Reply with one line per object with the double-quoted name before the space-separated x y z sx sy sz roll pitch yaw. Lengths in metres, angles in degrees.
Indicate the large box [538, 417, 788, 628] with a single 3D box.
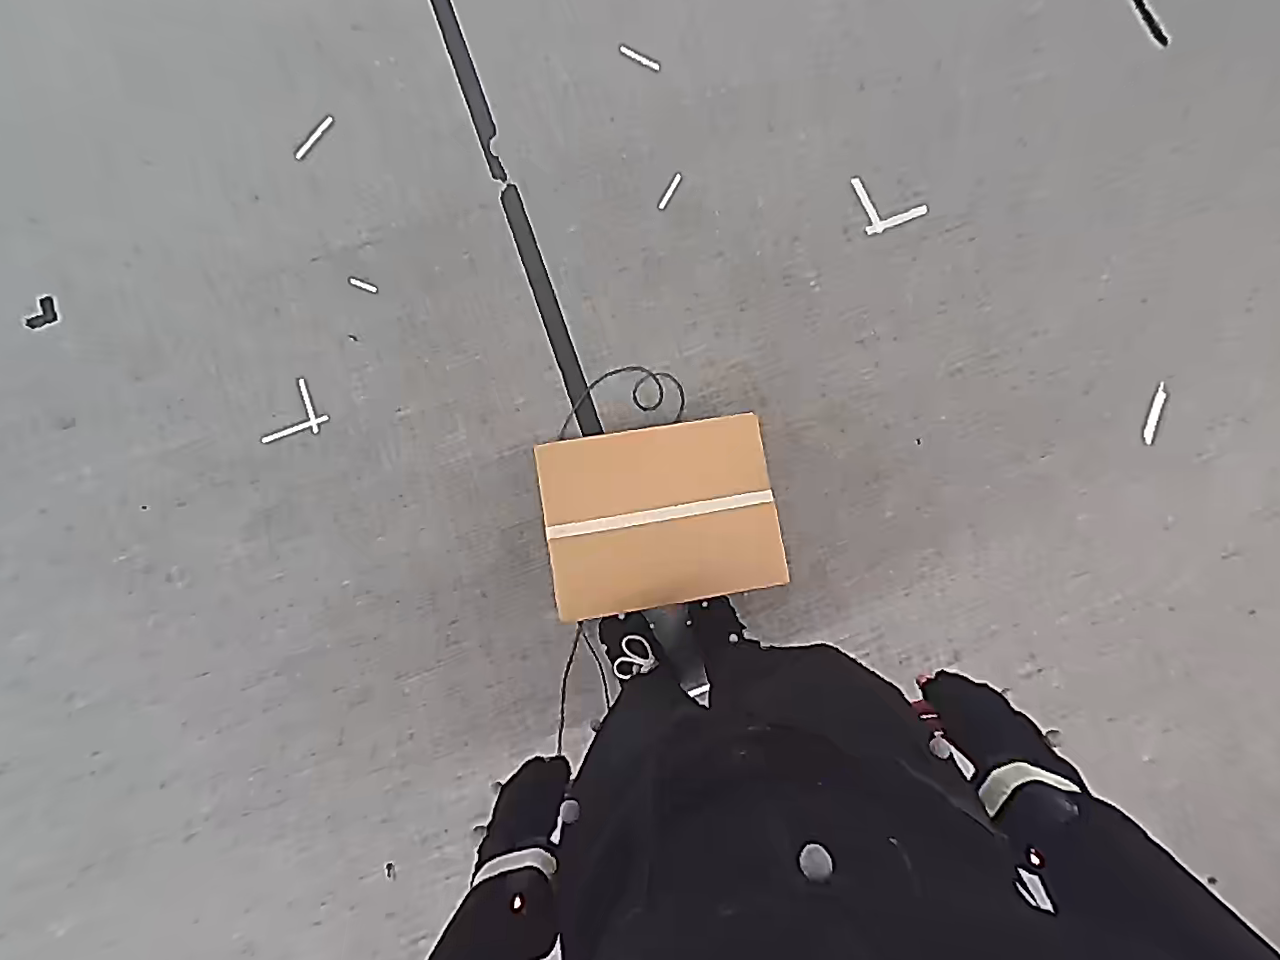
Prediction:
"large box" 0.033 0.087 1.098 0.408 0.320 0.320 -10 82 -4
